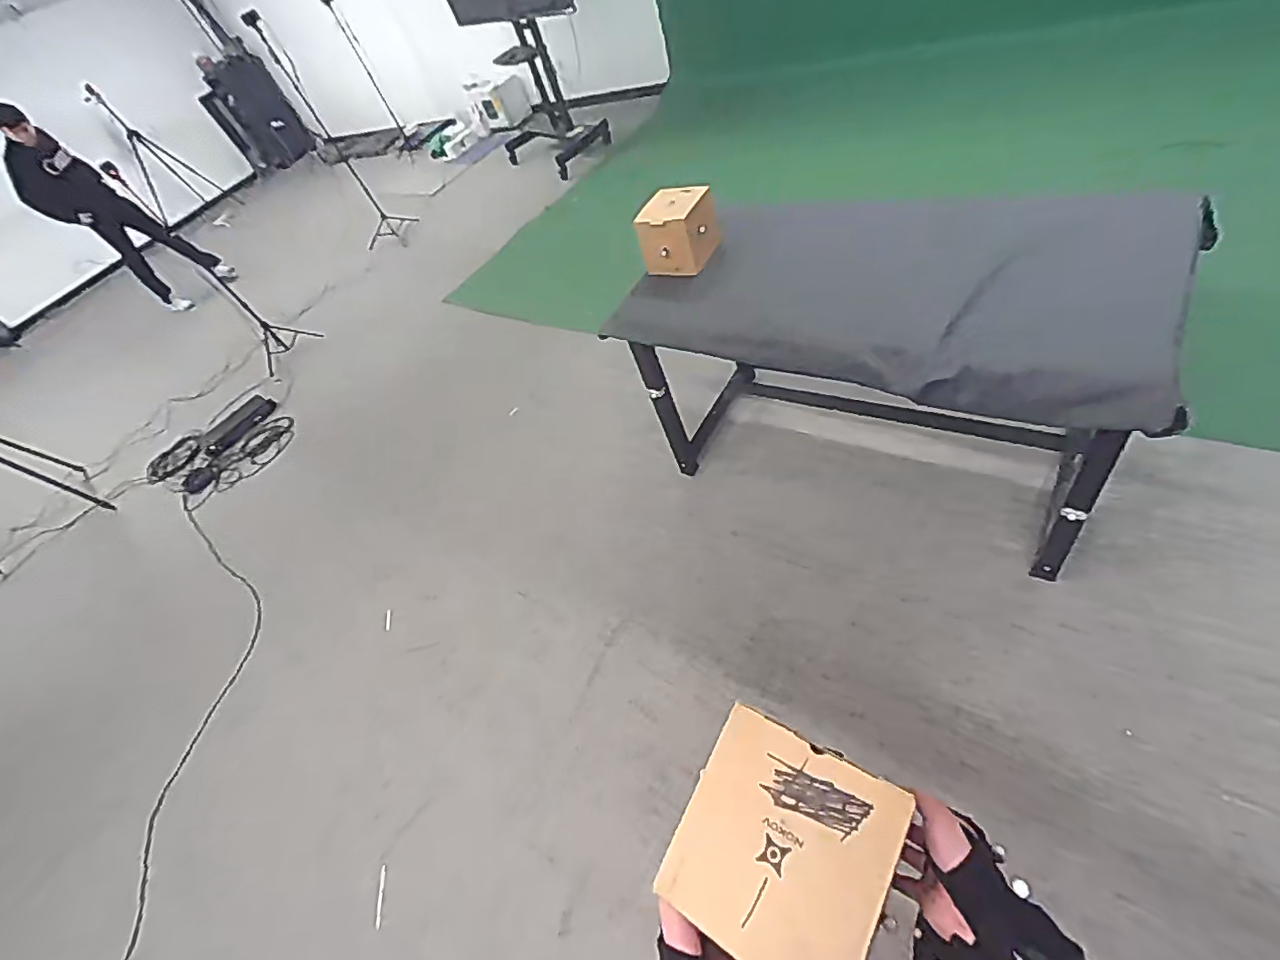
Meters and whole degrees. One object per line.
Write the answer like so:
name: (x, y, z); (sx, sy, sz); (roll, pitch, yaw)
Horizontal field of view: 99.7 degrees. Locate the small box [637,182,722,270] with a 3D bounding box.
small box: (0.121, -0.723, 1.553); (0.168, 0.176, 0.179); (14, 60, 31)
